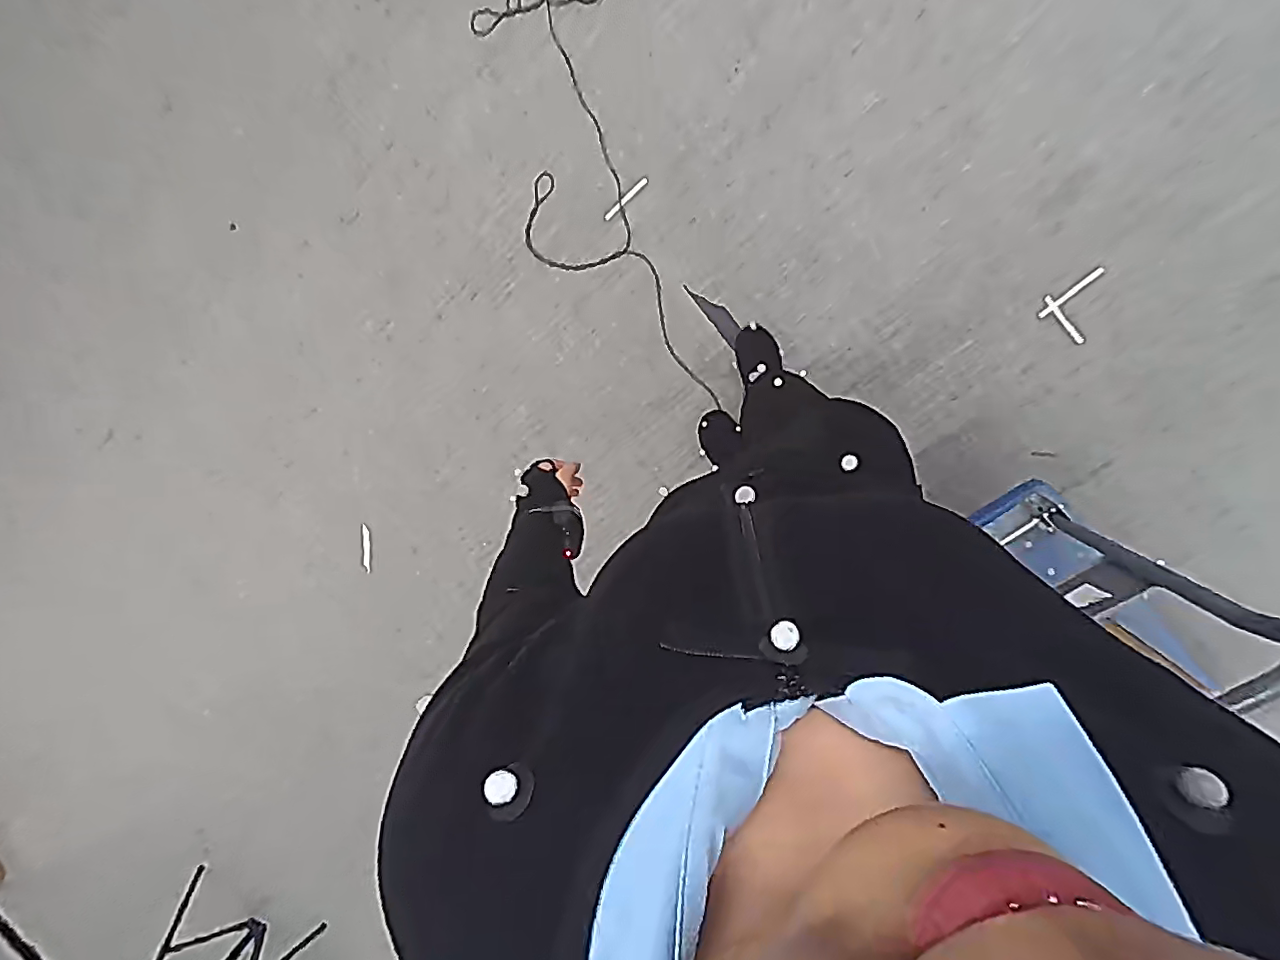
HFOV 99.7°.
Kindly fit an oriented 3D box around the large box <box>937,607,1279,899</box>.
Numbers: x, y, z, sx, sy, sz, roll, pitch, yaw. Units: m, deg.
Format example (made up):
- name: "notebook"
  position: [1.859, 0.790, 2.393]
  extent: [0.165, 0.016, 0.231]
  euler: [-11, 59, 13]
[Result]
- name: "large box"
  position: [0.929, 0.541, 1.121]
  extent: [0.408, 0.320, 0.320]
  euler: [-38, 93, 15]
